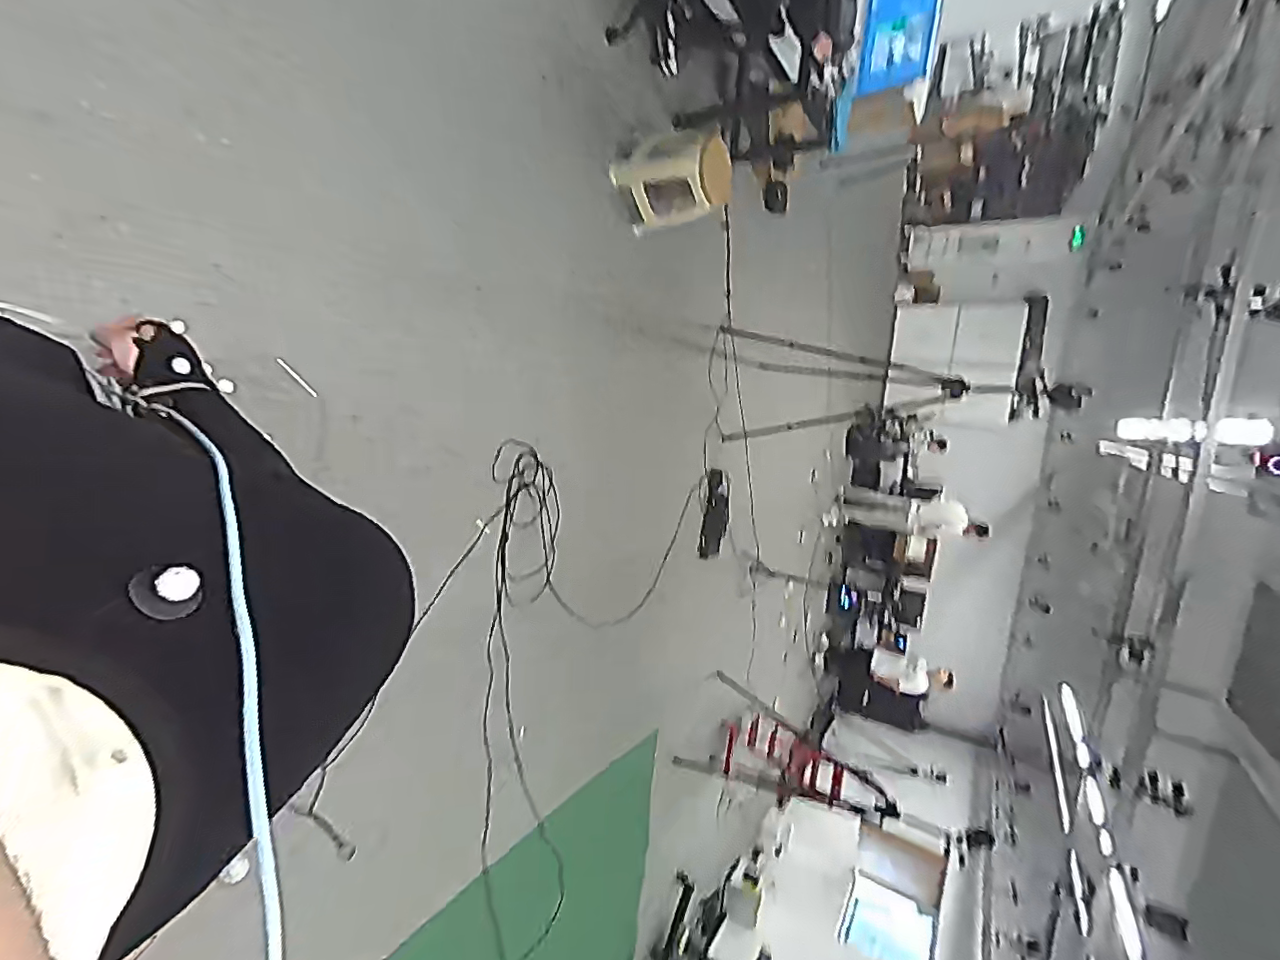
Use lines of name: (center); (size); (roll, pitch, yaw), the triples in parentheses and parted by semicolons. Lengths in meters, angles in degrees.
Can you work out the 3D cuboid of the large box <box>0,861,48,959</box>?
large box: (-1.383, 1.031, 0.982); (0.408, 0.320, 0.320); (-21, 115, -53)
